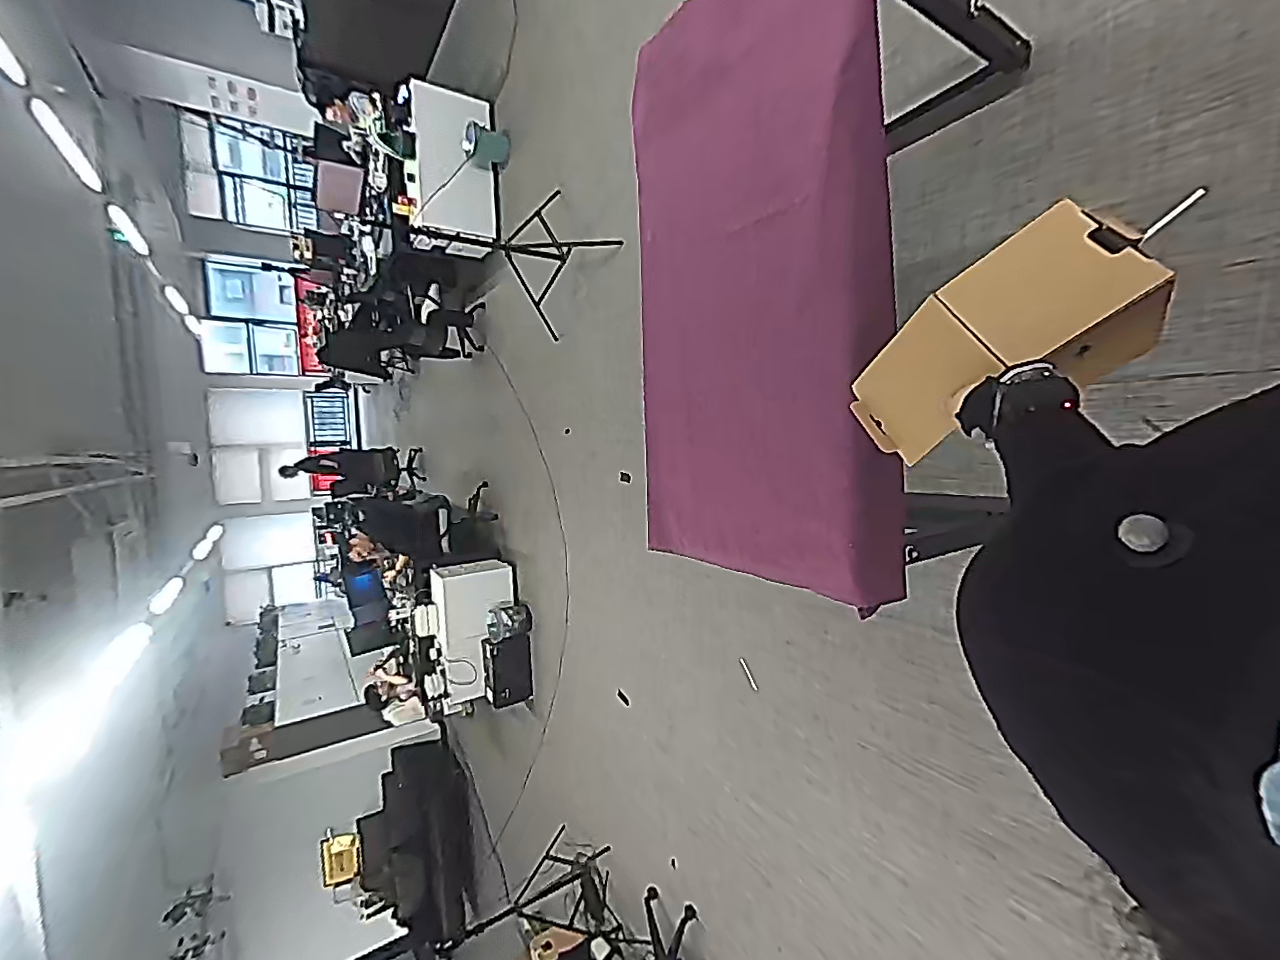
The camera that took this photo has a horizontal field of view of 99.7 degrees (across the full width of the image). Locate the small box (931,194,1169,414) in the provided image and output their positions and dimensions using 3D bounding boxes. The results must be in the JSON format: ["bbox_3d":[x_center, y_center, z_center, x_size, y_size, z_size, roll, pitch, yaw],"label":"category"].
[{"bbox_3d":[0.523,-0.214,0.704,0.179,0.176,0.168,-37,55,24],"label":"small box"}]
